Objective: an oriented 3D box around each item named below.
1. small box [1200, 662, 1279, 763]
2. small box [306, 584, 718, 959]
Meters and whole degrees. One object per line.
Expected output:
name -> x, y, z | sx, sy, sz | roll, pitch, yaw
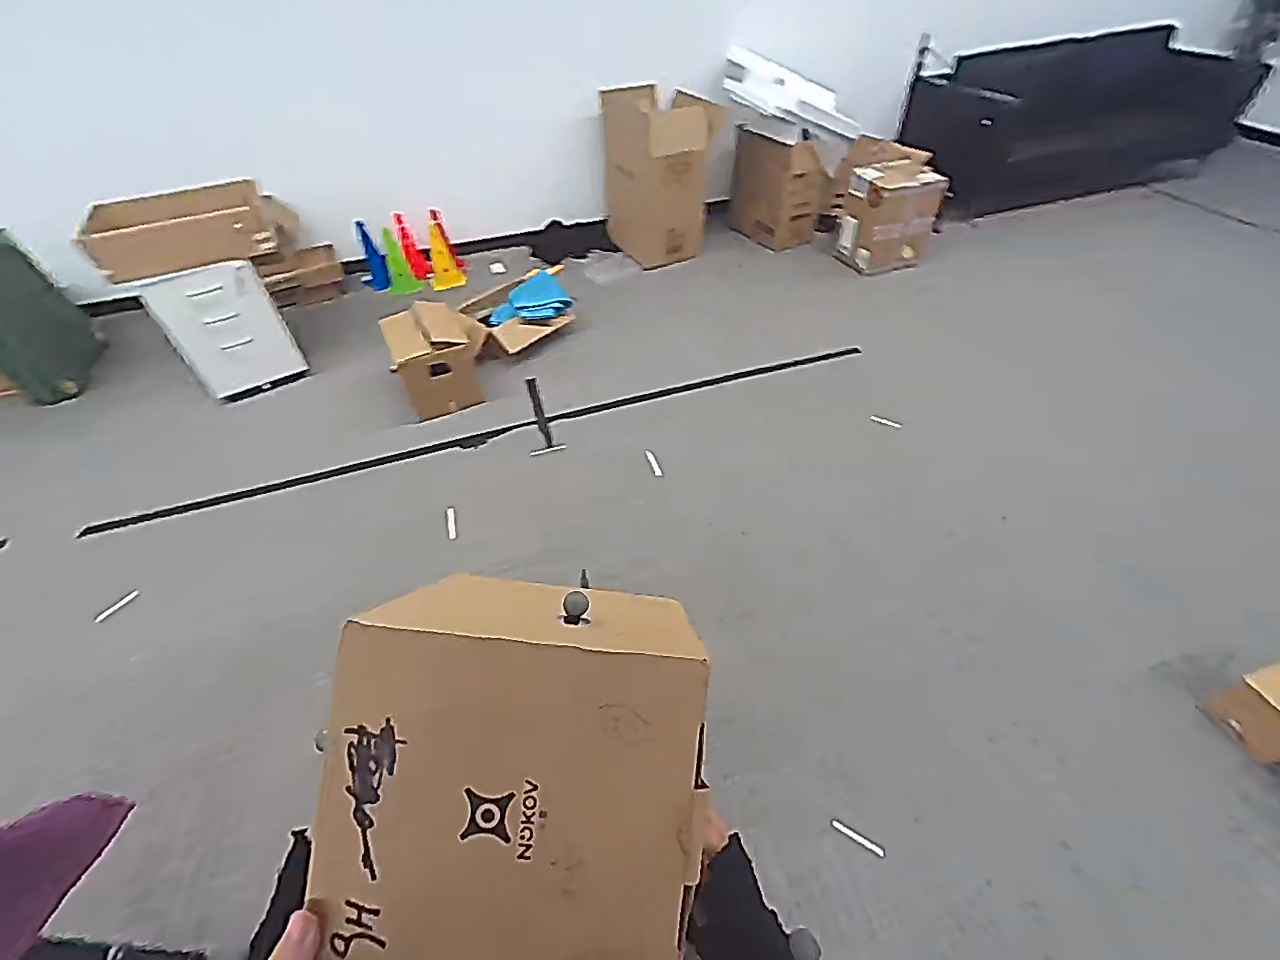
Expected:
small box -> 1.595, 0.581, 1.358 | 0.179, 0.176, 0.168 | -14, 46, -9
small box -> -0.061, 0.163, 0.332 | 0.179, 0.176, 0.168 | 7, 86, -1
